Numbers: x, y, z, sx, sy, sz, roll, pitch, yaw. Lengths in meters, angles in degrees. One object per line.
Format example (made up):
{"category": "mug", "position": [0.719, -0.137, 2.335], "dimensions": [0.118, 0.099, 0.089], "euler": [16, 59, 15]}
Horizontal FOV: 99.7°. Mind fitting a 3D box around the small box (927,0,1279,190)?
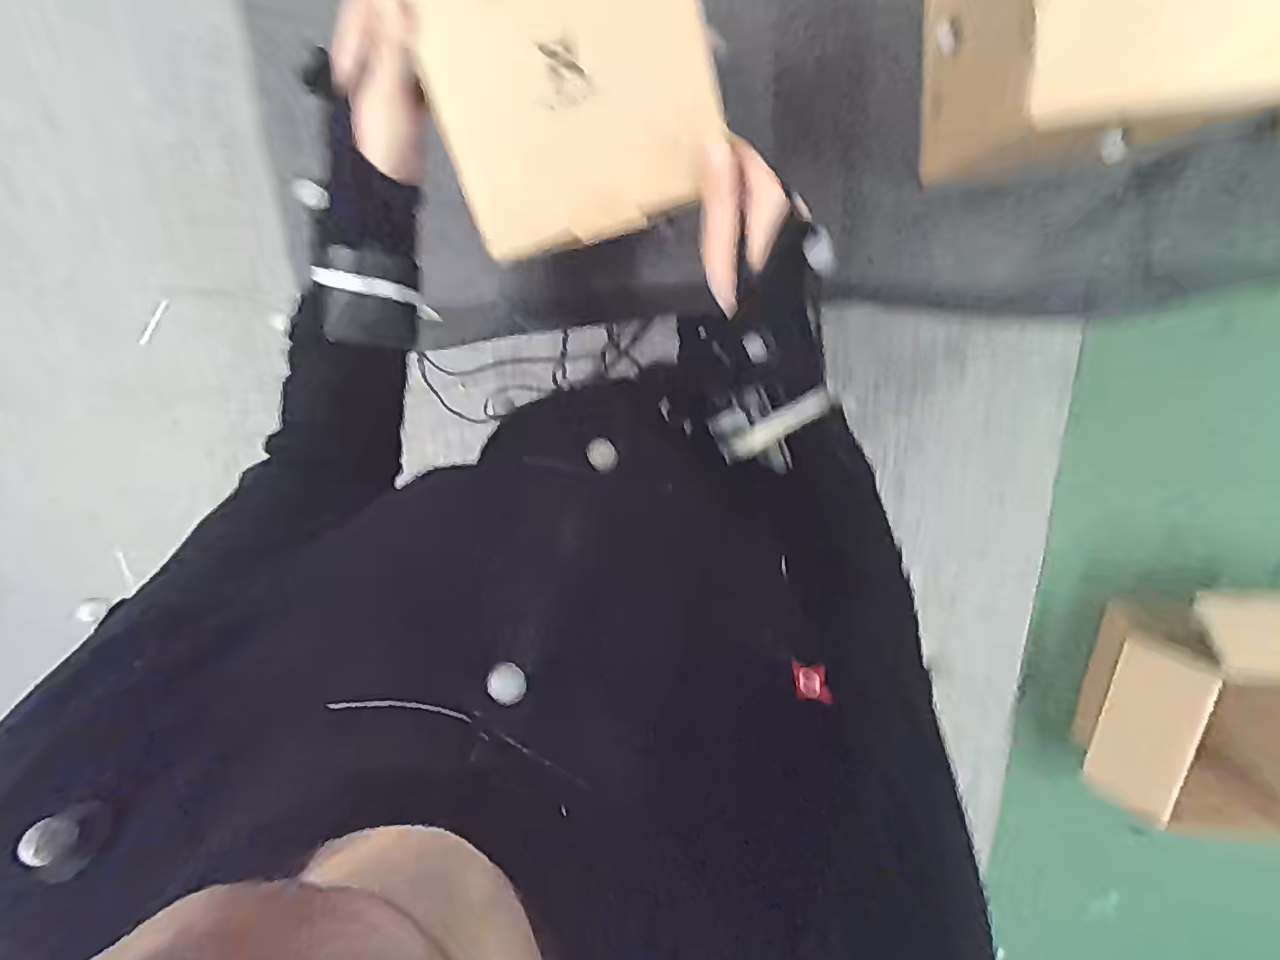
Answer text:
{"category": "small box", "position": [0.341, -0.327, 0.396], "dimensions": [0.179, 0.176, 0.168], "euler": [-2, 105, 7]}
